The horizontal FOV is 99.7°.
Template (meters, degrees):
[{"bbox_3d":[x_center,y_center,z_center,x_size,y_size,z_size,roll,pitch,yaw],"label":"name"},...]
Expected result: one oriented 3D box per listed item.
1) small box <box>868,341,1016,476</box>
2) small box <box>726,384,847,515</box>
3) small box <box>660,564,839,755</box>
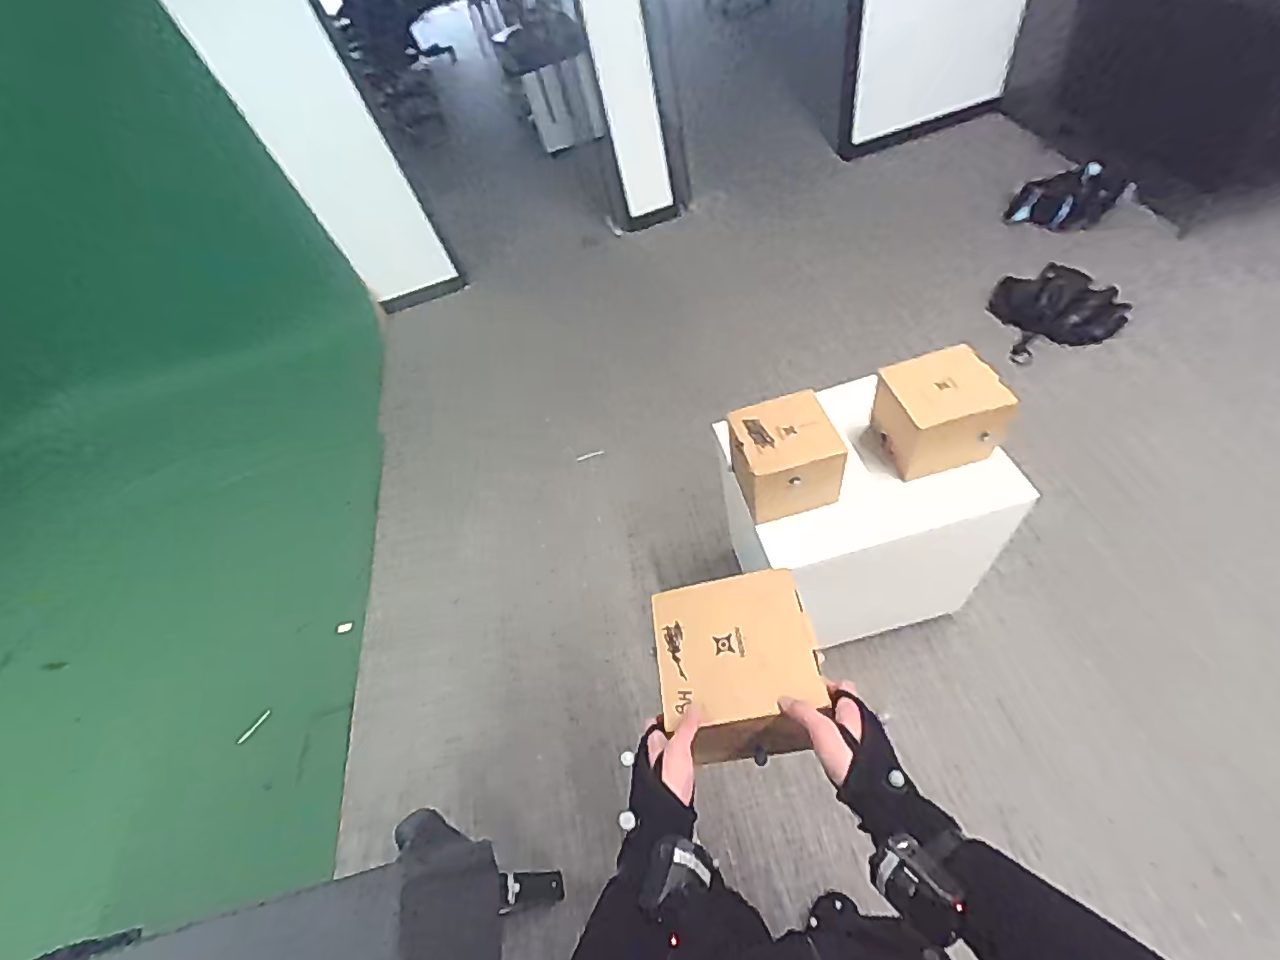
[{"bbox_3d":[0.565,-0.132,1.042,0.179,0.176,0.168,-15,53,3],"label":"small box"},{"bbox_3d":[0.276,-0.054,1.049,0.179,0.176,0.168,-15,54,0],"label":"small box"},{"bbox_3d":[0.129,0.225,0.664,0.179,0.176,0.168,-11,50,8],"label":"small box"}]
